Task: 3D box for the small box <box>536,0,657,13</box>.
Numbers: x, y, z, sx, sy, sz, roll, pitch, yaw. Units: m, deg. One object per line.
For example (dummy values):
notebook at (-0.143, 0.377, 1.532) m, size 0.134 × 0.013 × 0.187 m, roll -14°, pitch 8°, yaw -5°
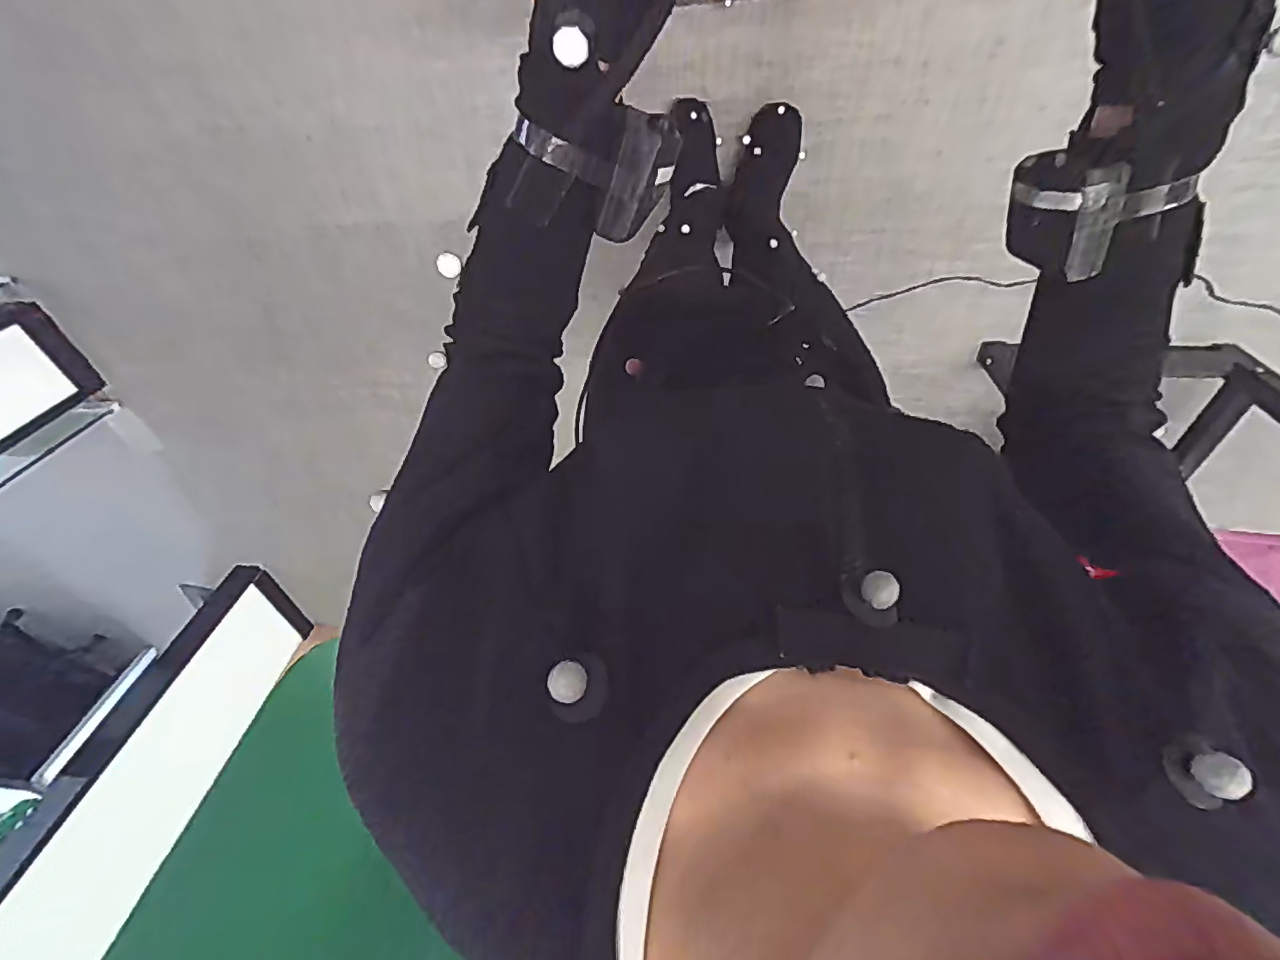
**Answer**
small box at (-0.064, -0.789, 0.771) m, size 0.168 × 0.176 × 0.179 m, roll 1°, pitch 131°, yaw 8°
